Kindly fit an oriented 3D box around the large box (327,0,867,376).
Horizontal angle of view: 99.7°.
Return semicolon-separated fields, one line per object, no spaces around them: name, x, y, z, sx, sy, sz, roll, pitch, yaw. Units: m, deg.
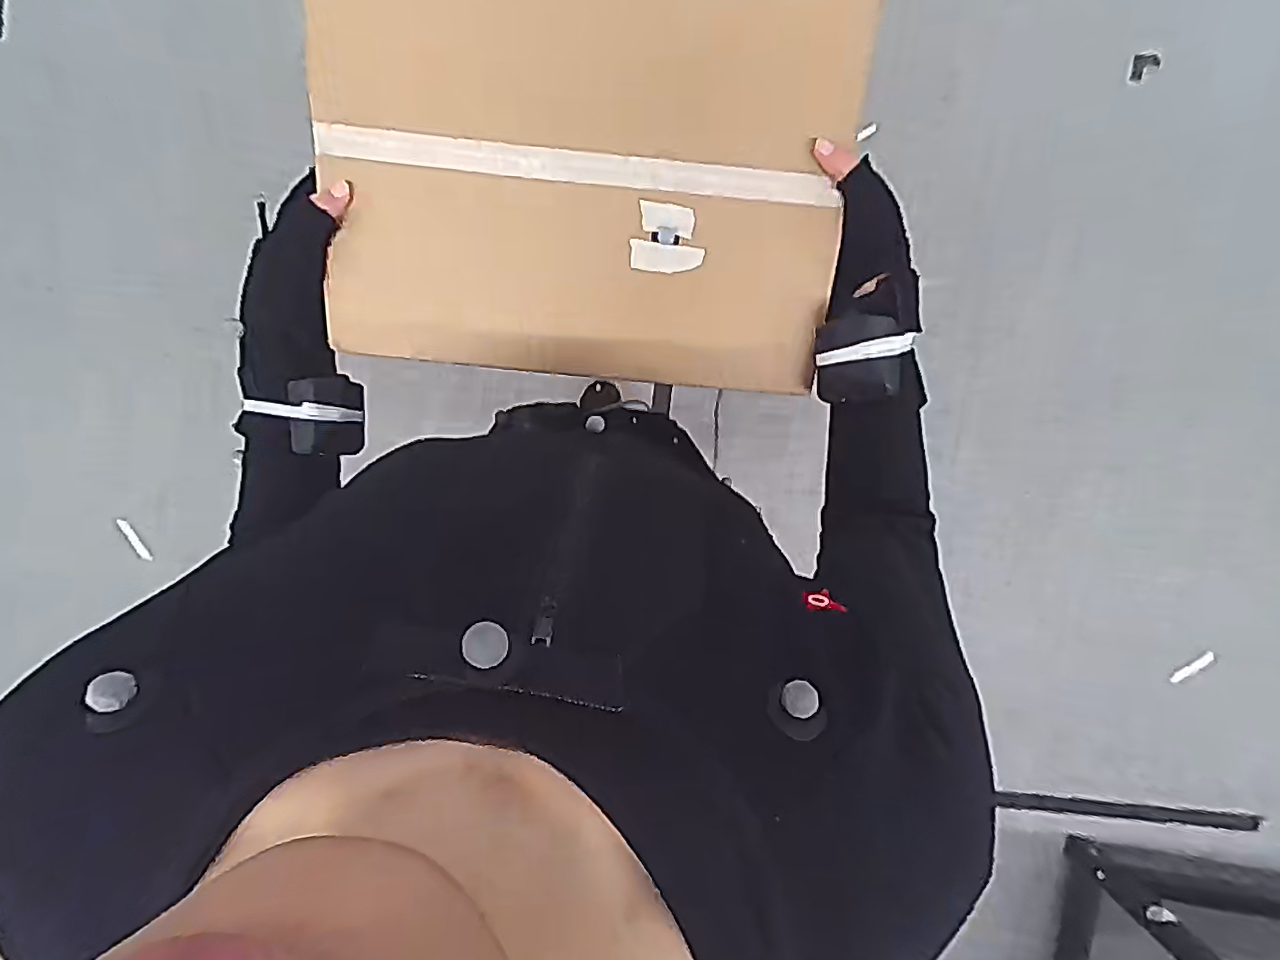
large box;-0.045;-0.293;0.570;0.408;0.320;0.320;5;107;-3
